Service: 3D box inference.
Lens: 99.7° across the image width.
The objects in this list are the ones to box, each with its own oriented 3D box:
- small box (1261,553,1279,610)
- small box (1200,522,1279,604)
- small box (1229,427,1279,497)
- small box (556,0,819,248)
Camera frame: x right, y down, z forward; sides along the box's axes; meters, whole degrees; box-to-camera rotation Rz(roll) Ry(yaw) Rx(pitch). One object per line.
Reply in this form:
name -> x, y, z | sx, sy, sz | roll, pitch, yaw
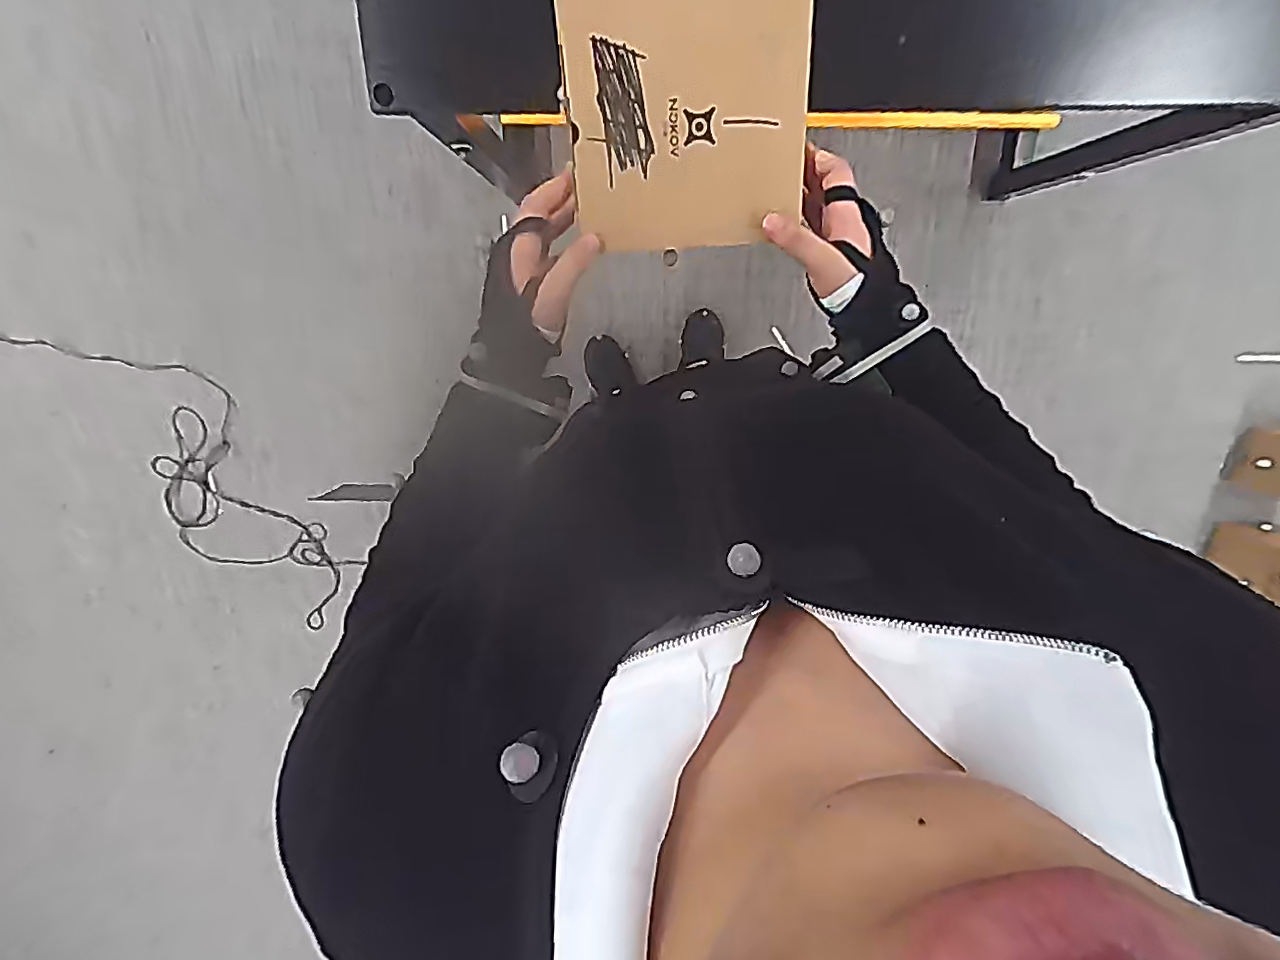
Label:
small box -> 1.768, 0.277, 1.367 | 0.179, 0.176, 0.168 | 1, 108, 1
small box -> 1.755, 0.230, 1.522 | 0.168, 0.176, 0.179 | -1, 109, 0
small box -> 1.747, -0.041, 1.432 | 0.179, 0.176, 0.168 | 2, 108, 0
small box -> 0.033, -0.288, 0.456 | 0.179, 0.176, 0.168 | -4, 115, -1
